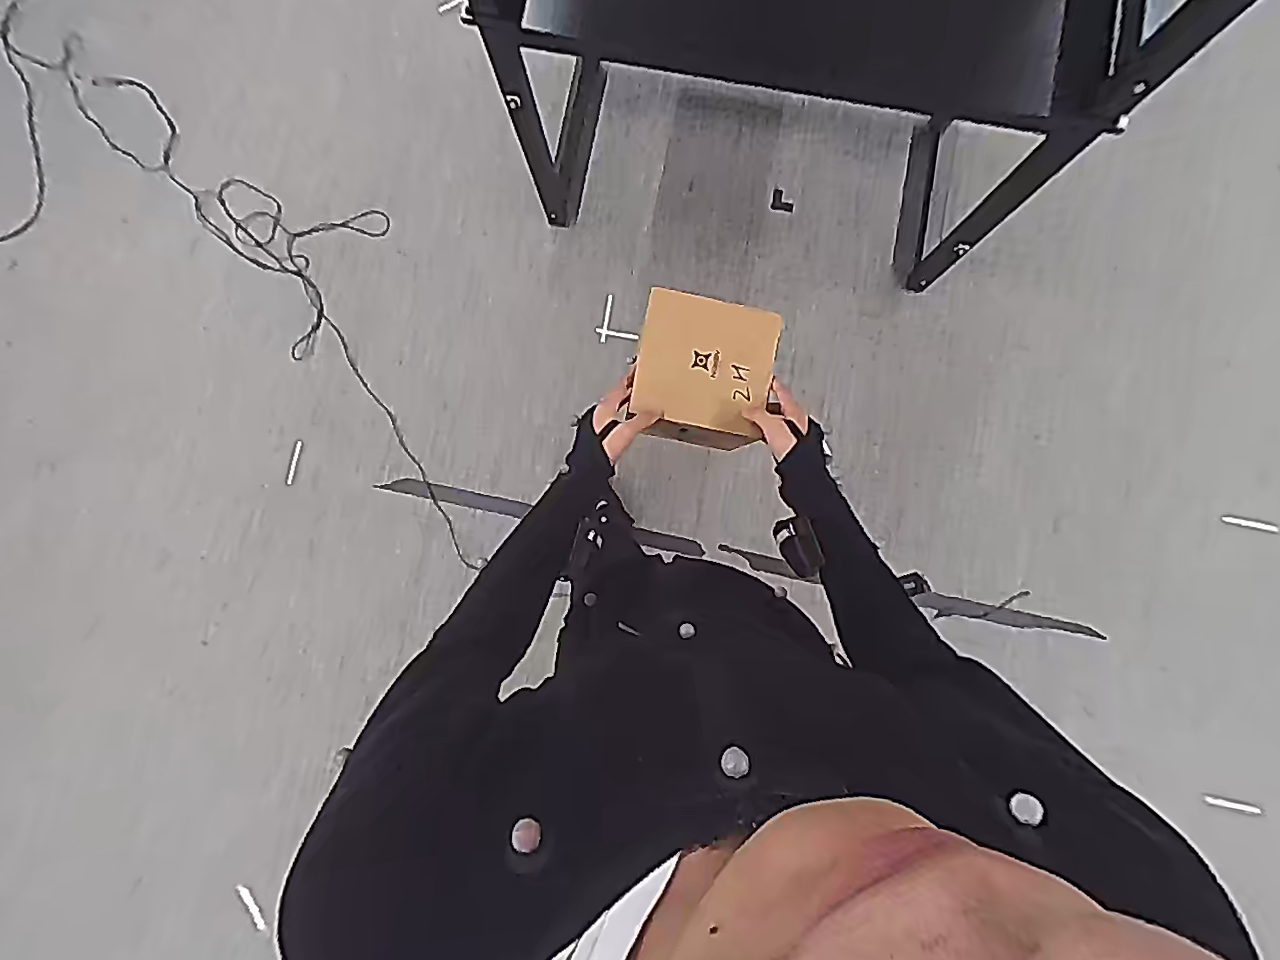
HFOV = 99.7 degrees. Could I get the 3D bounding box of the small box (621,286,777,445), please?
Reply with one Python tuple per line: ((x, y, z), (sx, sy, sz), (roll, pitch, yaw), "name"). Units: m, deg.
((0.071, -0.148, 0.762), (0.179, 0.176, 0.168), (11, 88, -4), "small box")
